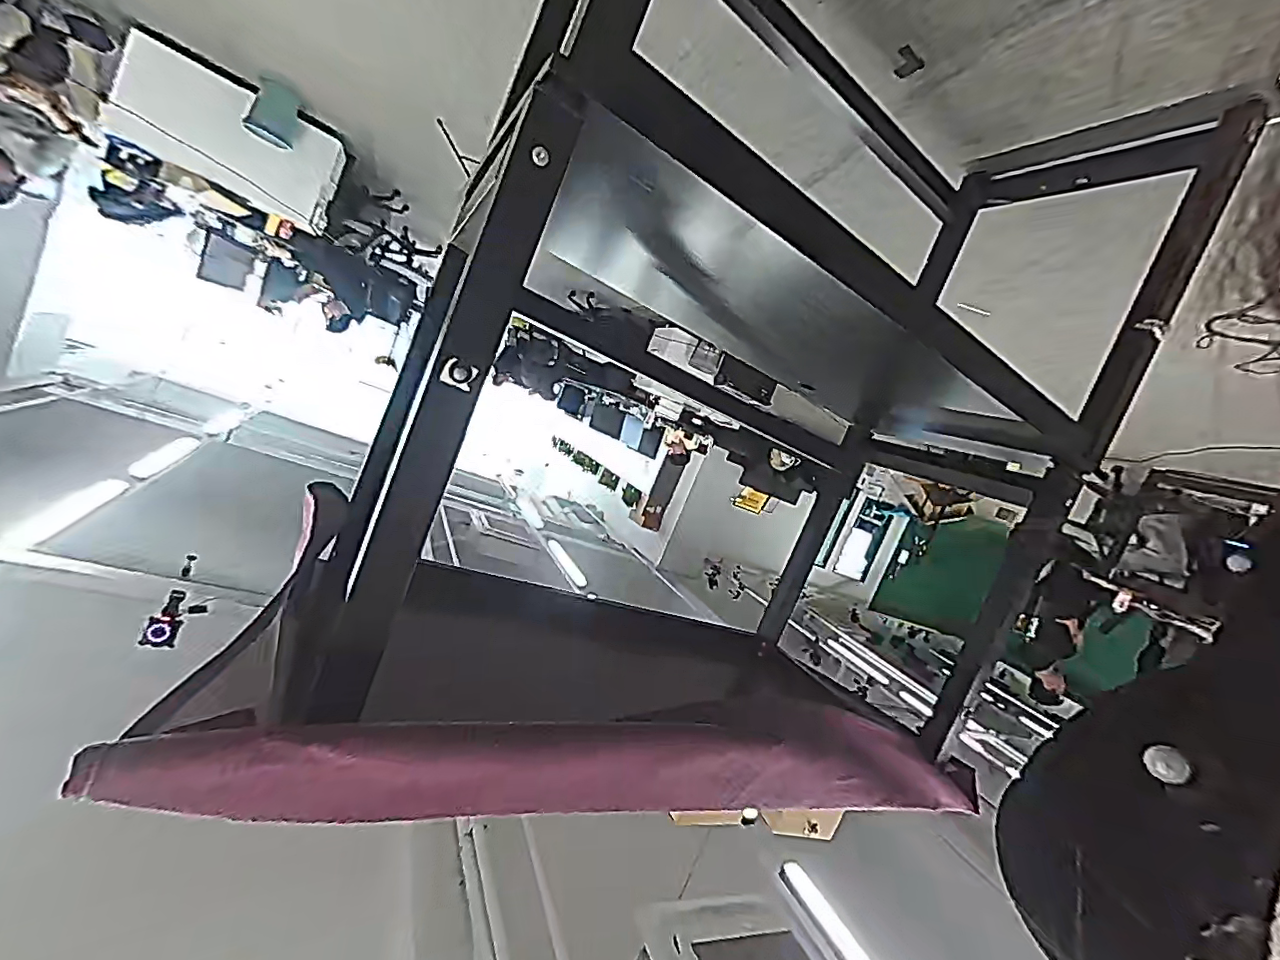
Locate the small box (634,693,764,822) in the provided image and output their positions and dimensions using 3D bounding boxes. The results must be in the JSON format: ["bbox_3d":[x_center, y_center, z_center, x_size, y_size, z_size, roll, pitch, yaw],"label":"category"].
[{"bbox_3d":[0.119,0.549,1.091,0.168,0.176,0.179,19,-174,-30],"label":"small box"}]

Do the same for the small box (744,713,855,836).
[{"bbox_3d":[0.332,0.632,1.182,0.168,0.176,0.179,21,-174,-22],"label":"small box"}]
